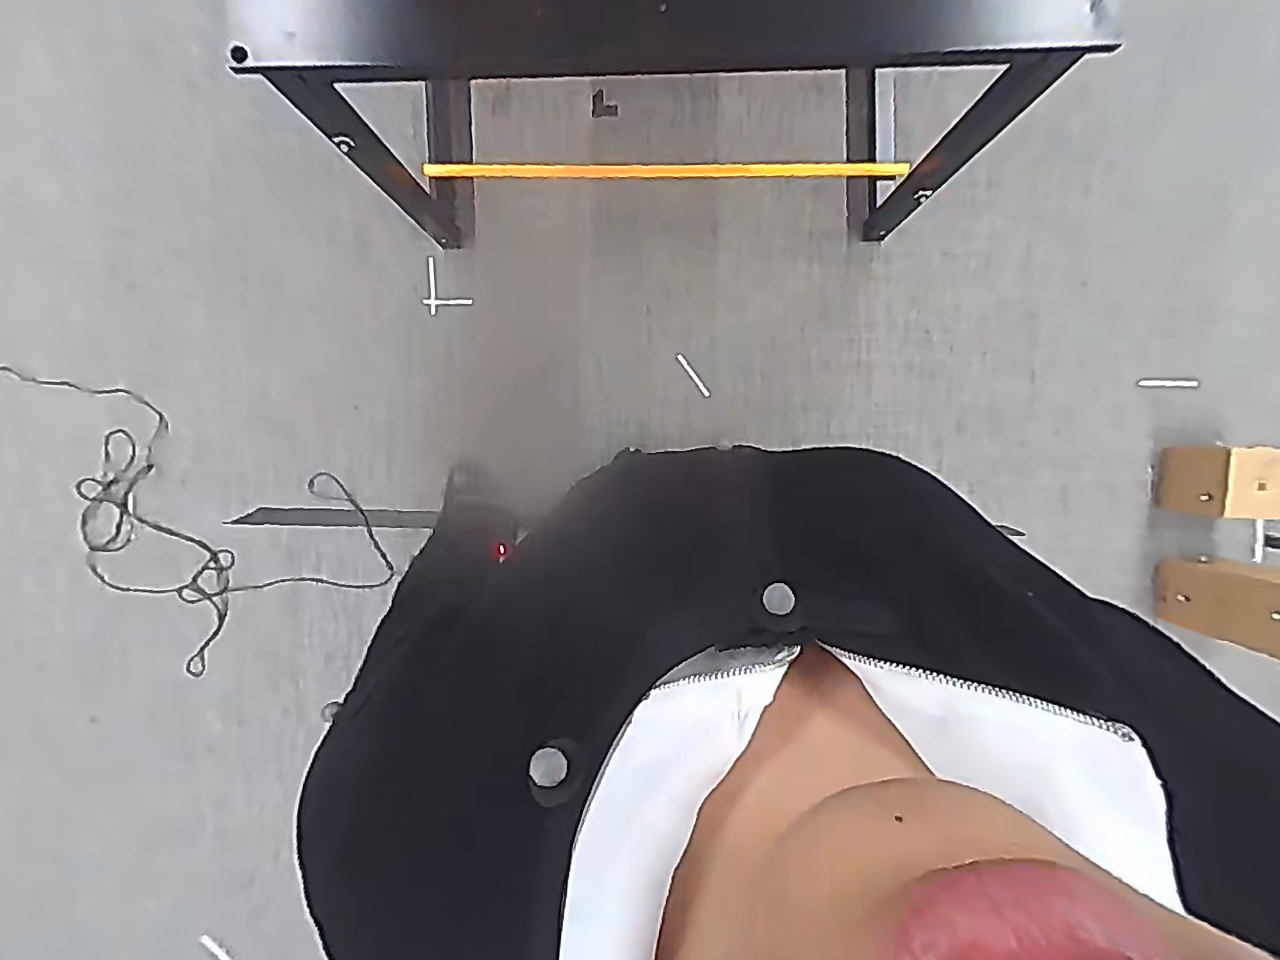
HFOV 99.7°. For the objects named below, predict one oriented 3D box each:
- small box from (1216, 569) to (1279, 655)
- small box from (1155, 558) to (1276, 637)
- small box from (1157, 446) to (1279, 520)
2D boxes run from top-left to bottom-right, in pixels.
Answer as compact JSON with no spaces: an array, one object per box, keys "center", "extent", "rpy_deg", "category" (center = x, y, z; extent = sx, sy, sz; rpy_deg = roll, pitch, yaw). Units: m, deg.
[{"center":[1.493,0.304,1.243],"extent":[0.168,0.176,0.179],"rpy_deg":[-2,94,1],"category":"small box"},{"center":[1.500,0.301,1.408],"extent":[0.179,0.176,0.168],"rpy_deg":[-3,93,2],"category":"small box"},{"center":[1.488,0.003,1.389],"extent":[0.168,0.176,0.179],"rpy_deg":[2,93,1],"category":"small box"}]
